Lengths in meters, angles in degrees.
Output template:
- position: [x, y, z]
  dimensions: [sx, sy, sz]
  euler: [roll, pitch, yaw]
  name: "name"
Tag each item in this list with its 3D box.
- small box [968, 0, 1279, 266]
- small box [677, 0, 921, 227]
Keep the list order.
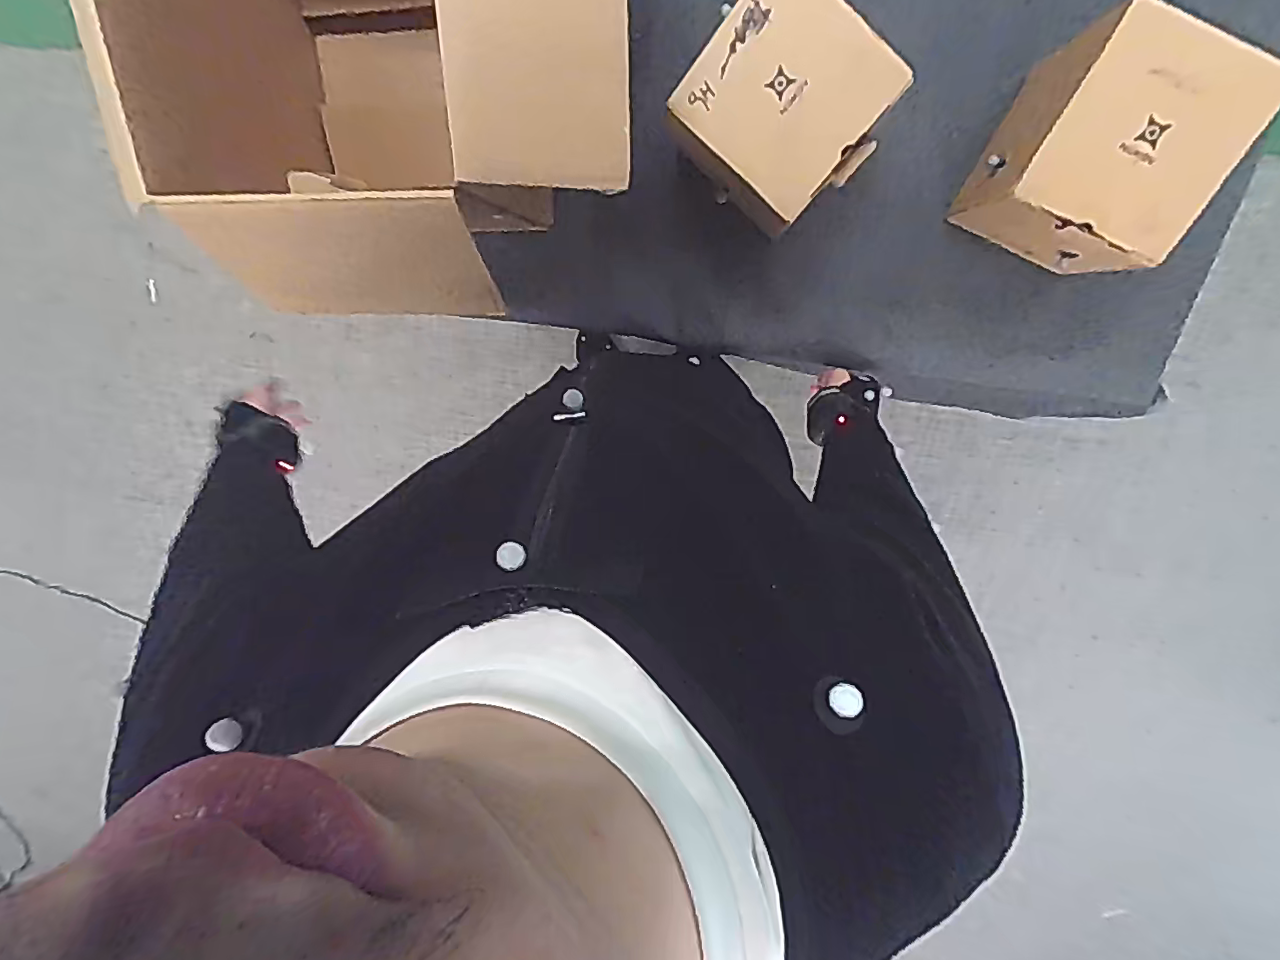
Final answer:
- position: [0.488, -0.343, 0.572]
  dimensions: [0.168, 0.176, 0.179]
  euler: [25, 110, -1]
  name: "small box"
- position: [0.163, -0.407, 0.602]
  dimensions: [0.179, 0.176, 0.168]
  euler: [41, 109, -7]
  name: "small box"
